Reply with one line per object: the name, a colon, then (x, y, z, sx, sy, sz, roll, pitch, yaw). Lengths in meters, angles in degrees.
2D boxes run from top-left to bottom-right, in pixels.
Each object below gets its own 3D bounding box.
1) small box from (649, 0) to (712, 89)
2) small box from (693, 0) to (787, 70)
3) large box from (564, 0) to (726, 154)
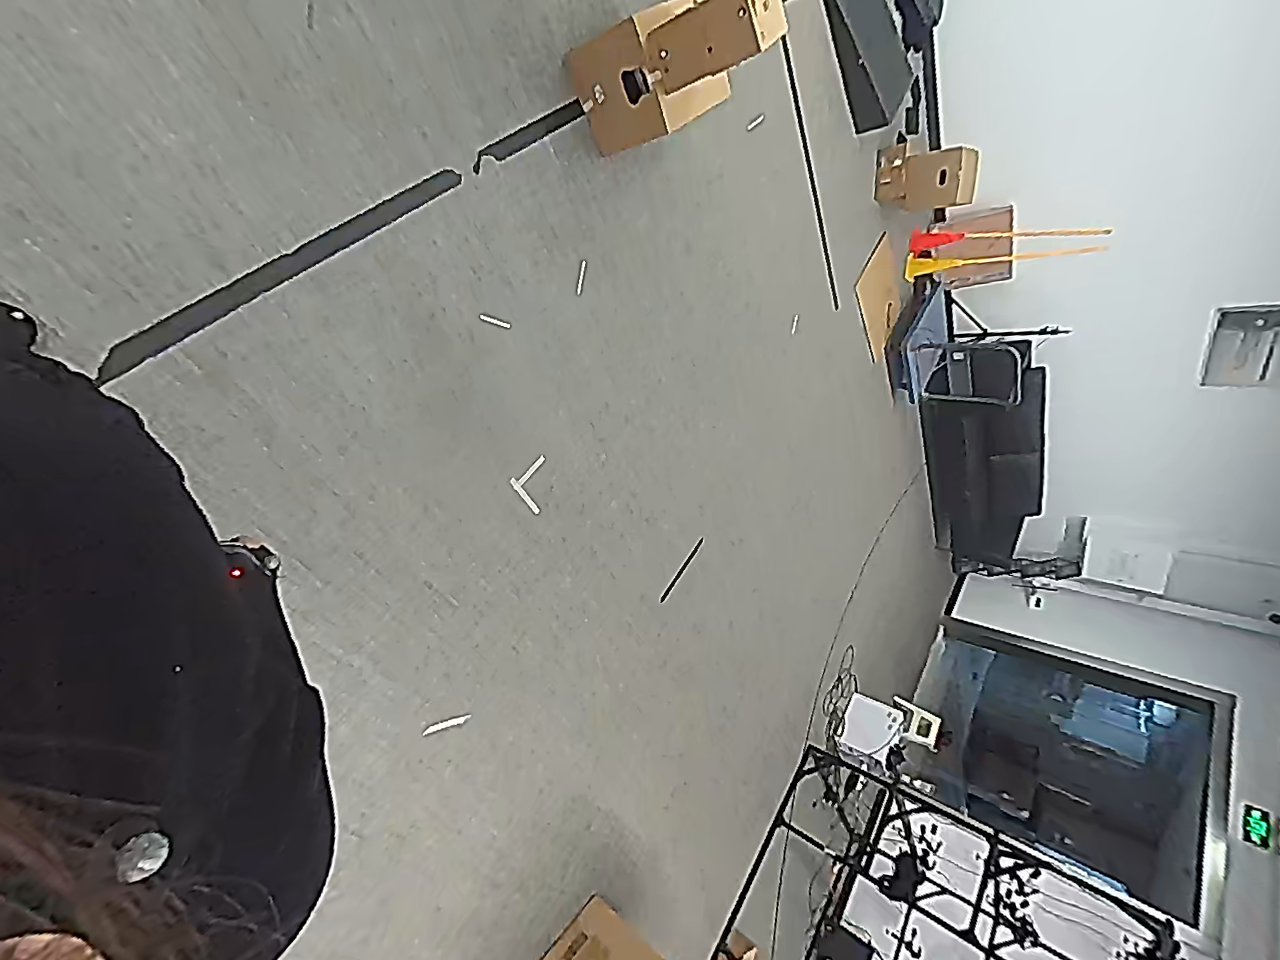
small box: (0.156, -1.296, 1.595, 0.179, 0.176, 0.168, -50, 129, -28)
small box: (0.274, -1.274, 1.483, 0.179, 0.176, 0.168, -54, 130, -27)
large box: (0.025, -1.359, 1.804, 0.408, 0.320, 0.320, -50, 131, -29)
